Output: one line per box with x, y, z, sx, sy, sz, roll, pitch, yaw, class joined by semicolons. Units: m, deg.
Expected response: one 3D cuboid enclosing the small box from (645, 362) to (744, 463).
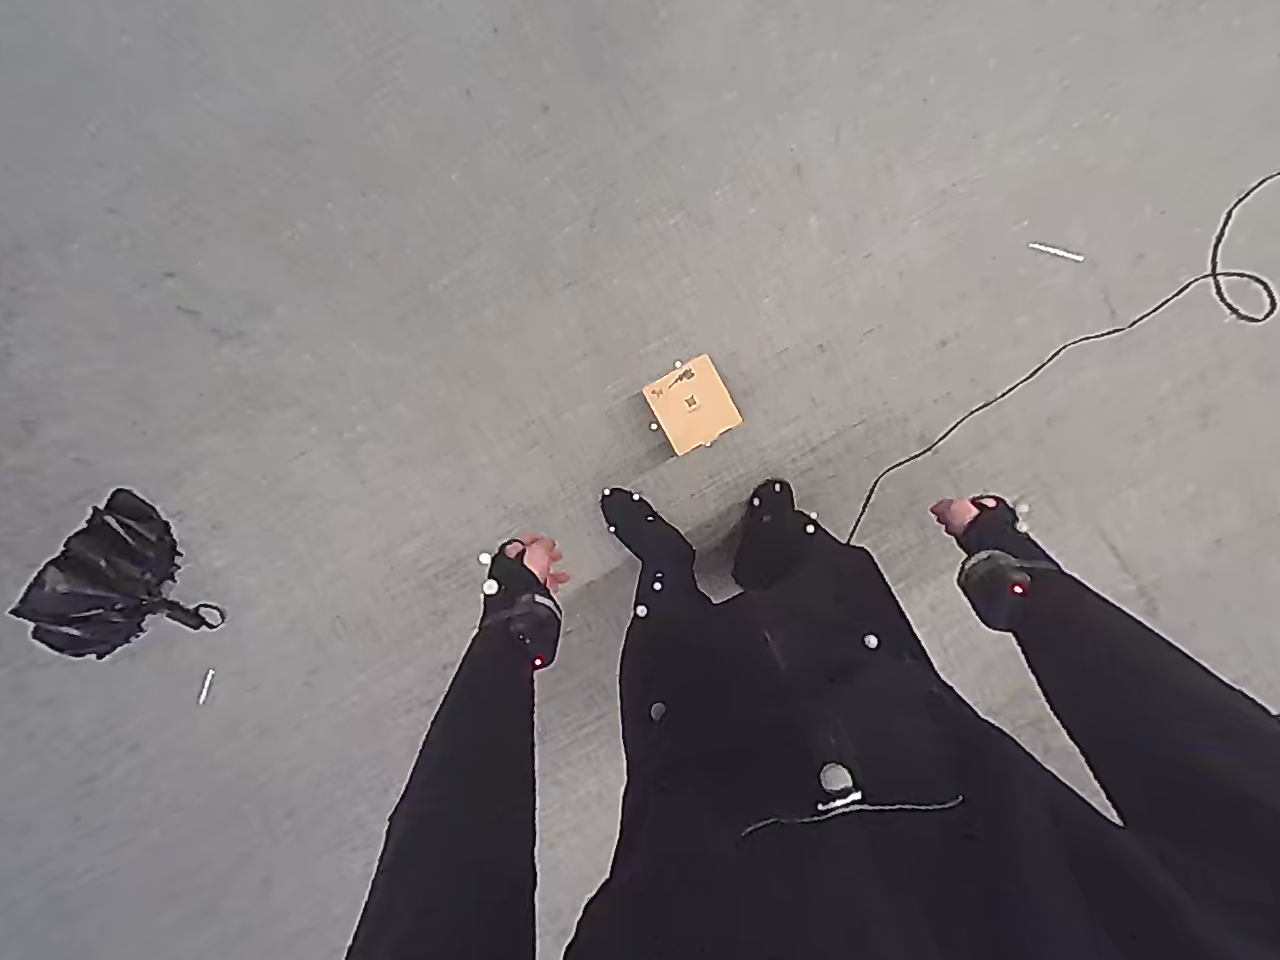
0.124;-0.158;1.285;0.168;0.176;0.179;-29;94;2;small box
